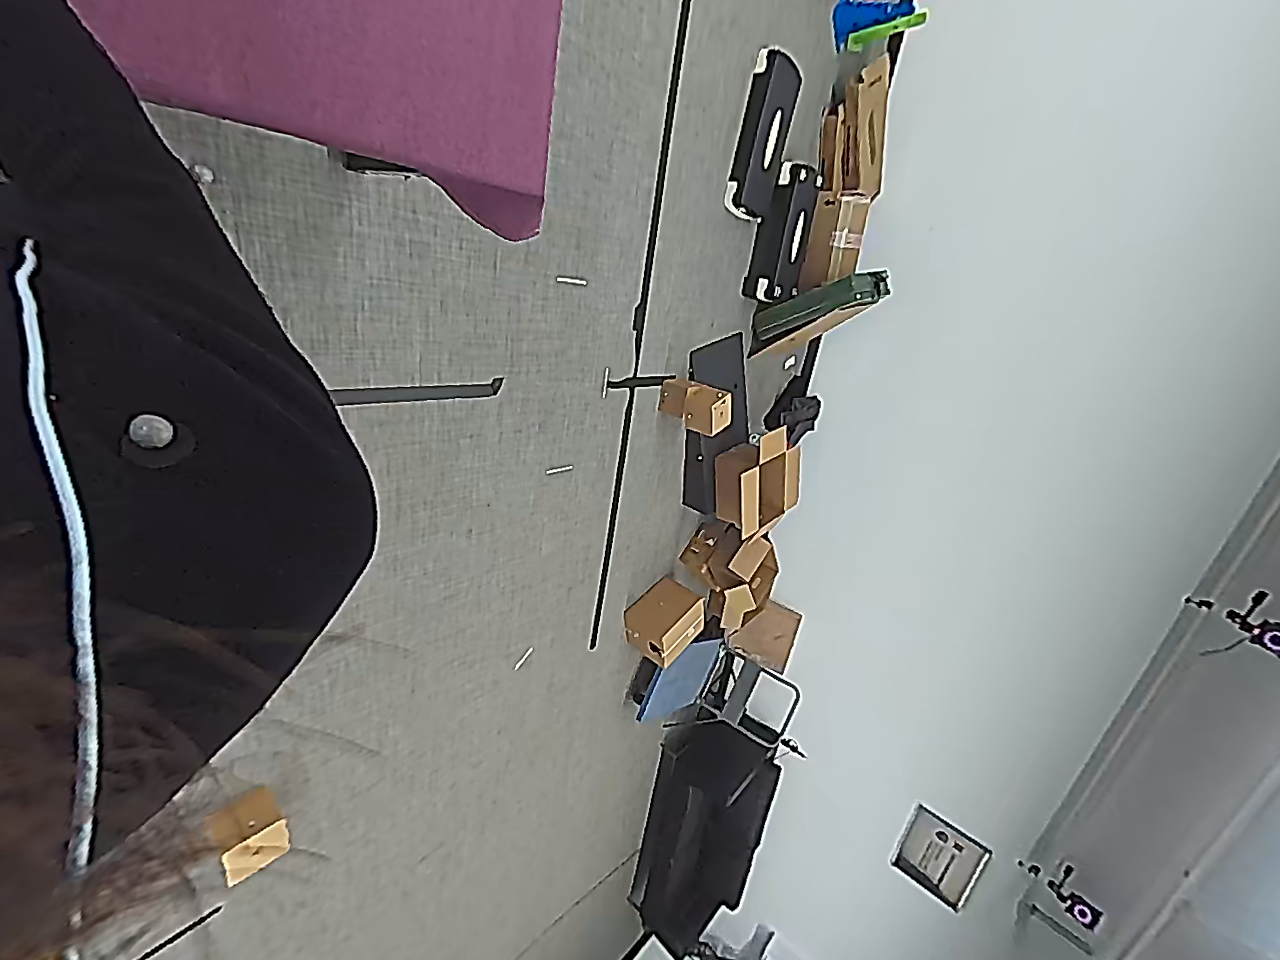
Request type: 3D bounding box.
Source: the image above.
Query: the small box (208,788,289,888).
[{"bbox_3d":[-1.300,1.177,1.791,0.179,0.176,0.168,-19,125,-48],"label":"small box"}]
